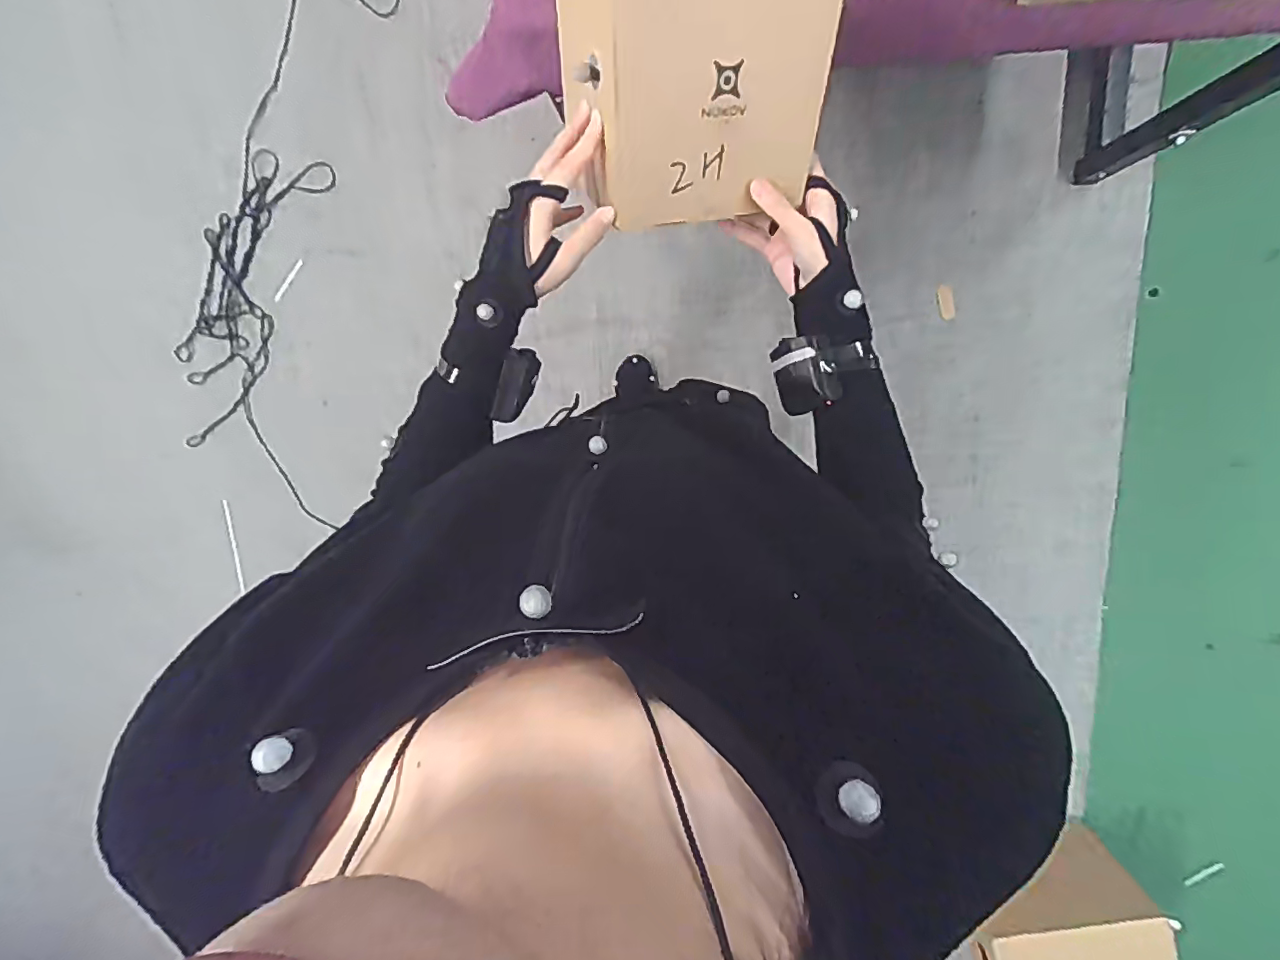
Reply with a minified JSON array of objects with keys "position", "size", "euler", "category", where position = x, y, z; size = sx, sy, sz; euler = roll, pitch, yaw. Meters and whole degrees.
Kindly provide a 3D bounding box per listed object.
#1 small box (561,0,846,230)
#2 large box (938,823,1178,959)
[{"position":[0.035,-0.326,0.438],"size":[0.168,0.176,0.179],"euler":[-12,137,-14],"category":"small box"},{"position":[1.093,1.196,1.442],"size":[0.408,0.320,0.320],"euler":[-15,98,7],"category":"large box"}]
